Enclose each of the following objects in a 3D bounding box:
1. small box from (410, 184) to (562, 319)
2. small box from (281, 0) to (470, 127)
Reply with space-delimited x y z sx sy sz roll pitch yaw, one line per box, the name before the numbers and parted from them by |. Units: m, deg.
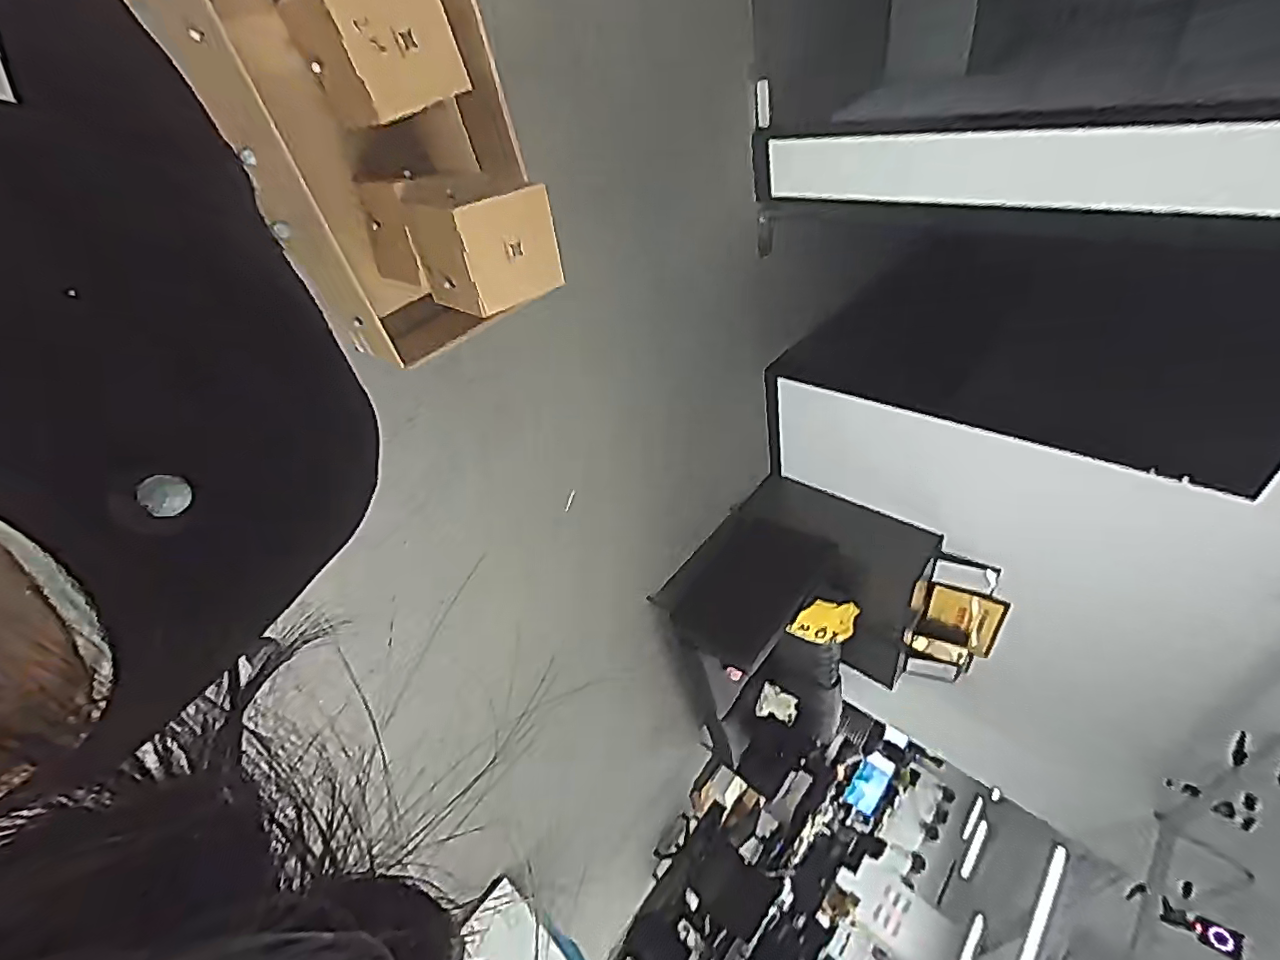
small box | -0.262 -0.392 0.915 0.179 0.176 0.168 -37 137 -33
small box | -0.407 -0.670 0.841 0.179 0.176 0.168 -43 139 -26
